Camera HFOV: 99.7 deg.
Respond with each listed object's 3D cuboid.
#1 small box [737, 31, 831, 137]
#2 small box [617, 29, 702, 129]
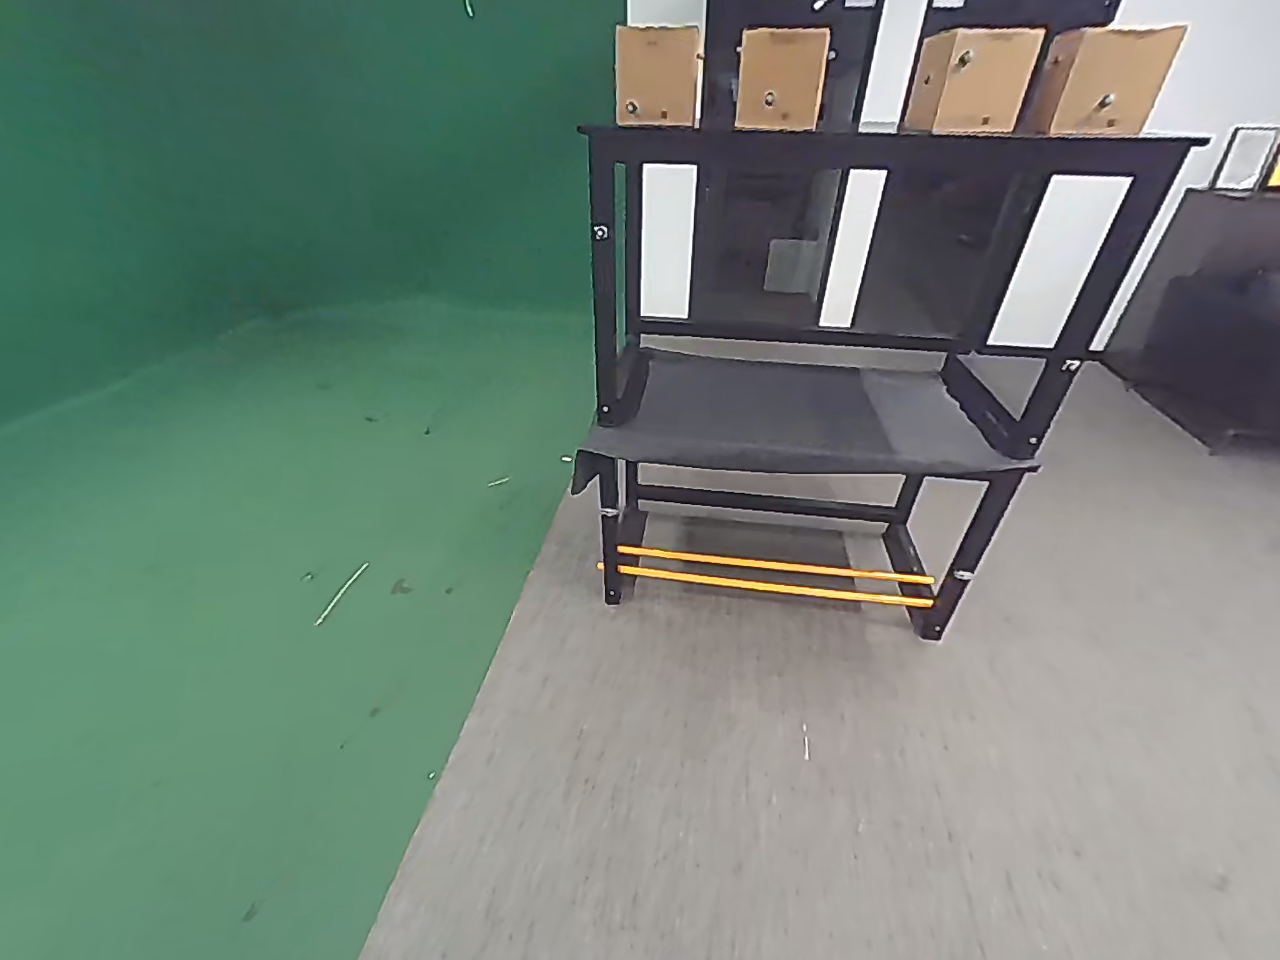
[{"bbox_3d":[0.308,-0.847,1.163,0.168,0.176,0.179,10,36,12],"label":"small box"},{"bbox_3d":[0.046,-0.873,1.188,0.168,0.176,0.179,5,34,5],"label":"small box"}]
